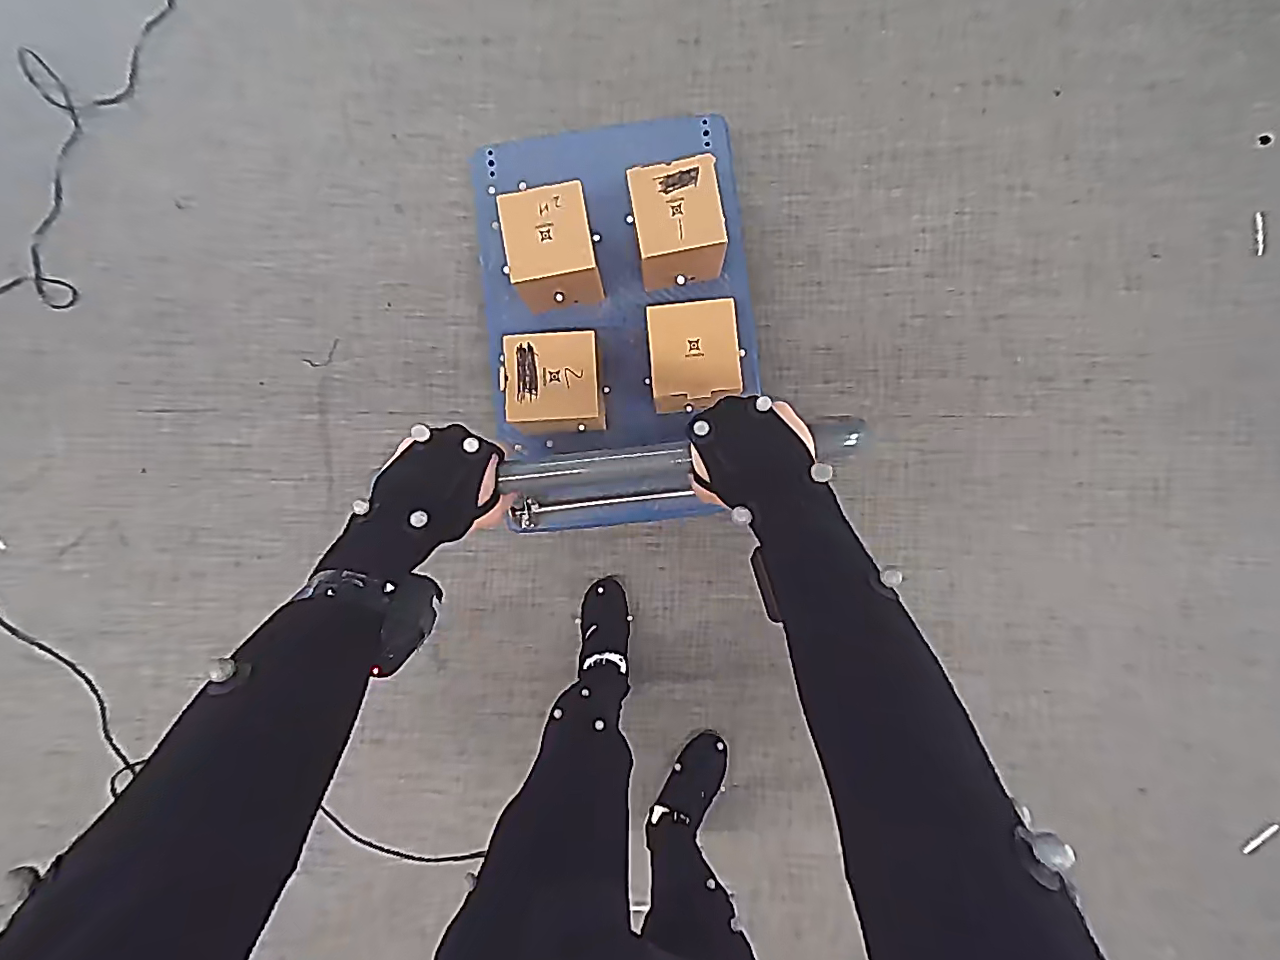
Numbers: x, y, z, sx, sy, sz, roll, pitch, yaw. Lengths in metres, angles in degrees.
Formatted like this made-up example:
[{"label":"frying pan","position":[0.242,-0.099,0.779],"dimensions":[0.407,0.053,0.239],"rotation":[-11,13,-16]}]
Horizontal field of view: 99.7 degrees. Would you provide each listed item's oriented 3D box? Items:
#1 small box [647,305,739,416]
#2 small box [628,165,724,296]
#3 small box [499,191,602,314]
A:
[{"label":"small box","position":[0.102,-0.237,1.104],"dimensions":[0.168,0.176,0.179],"rotation":[-6,88,2]},{"label":"small box","position":[0.070,-0.505,1.115],"dimensions":[0.168,0.176,0.179],"rotation":[-10,88,3]},{"label":"small box","position":[-0.177,-0.459,1.124],"dimensions":[0.168,0.176,0.179],"rotation":[-10,87,1]}]
